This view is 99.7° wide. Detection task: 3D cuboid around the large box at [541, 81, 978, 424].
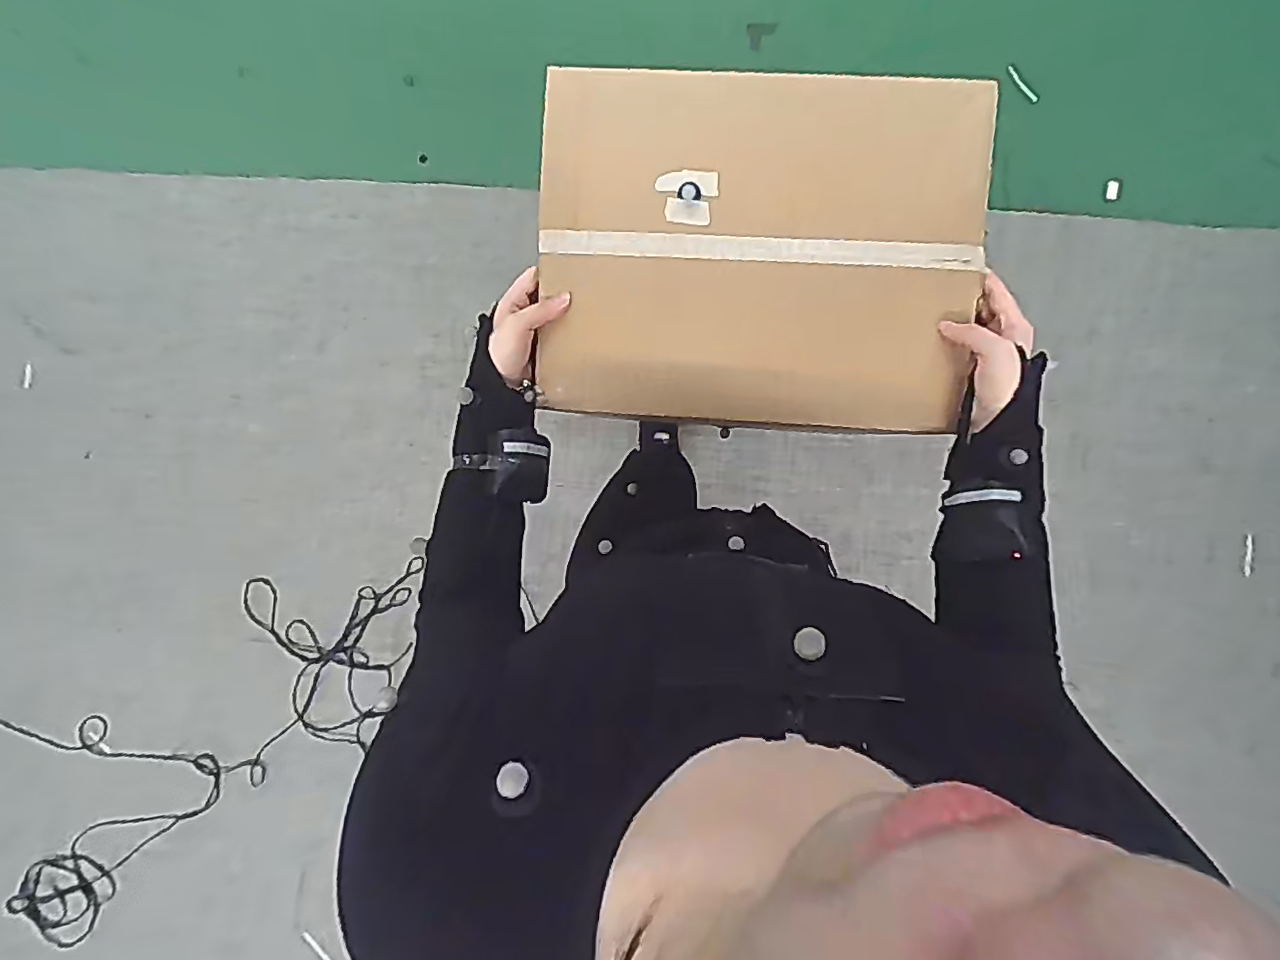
[{"bbox_3d":[0.117,-0.231,0.664,0.408,0.320,0.320,3,95,4],"label":"large box"}]
